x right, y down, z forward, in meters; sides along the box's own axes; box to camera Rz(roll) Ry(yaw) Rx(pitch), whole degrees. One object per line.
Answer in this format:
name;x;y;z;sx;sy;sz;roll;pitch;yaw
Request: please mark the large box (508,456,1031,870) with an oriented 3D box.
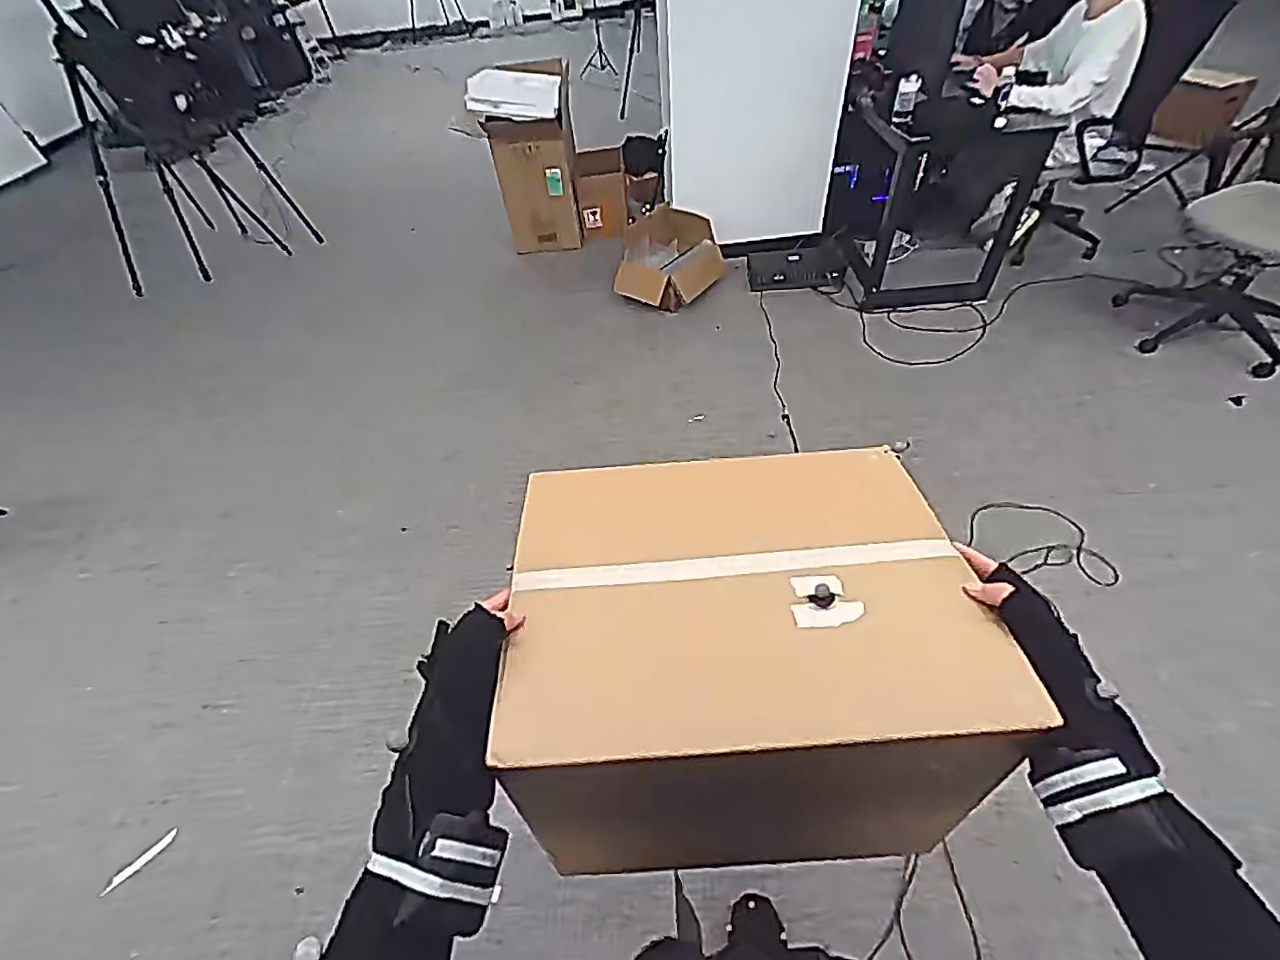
large box;0.096;0.200;0.609;0.408;0.320;0.320;-5;42;0
